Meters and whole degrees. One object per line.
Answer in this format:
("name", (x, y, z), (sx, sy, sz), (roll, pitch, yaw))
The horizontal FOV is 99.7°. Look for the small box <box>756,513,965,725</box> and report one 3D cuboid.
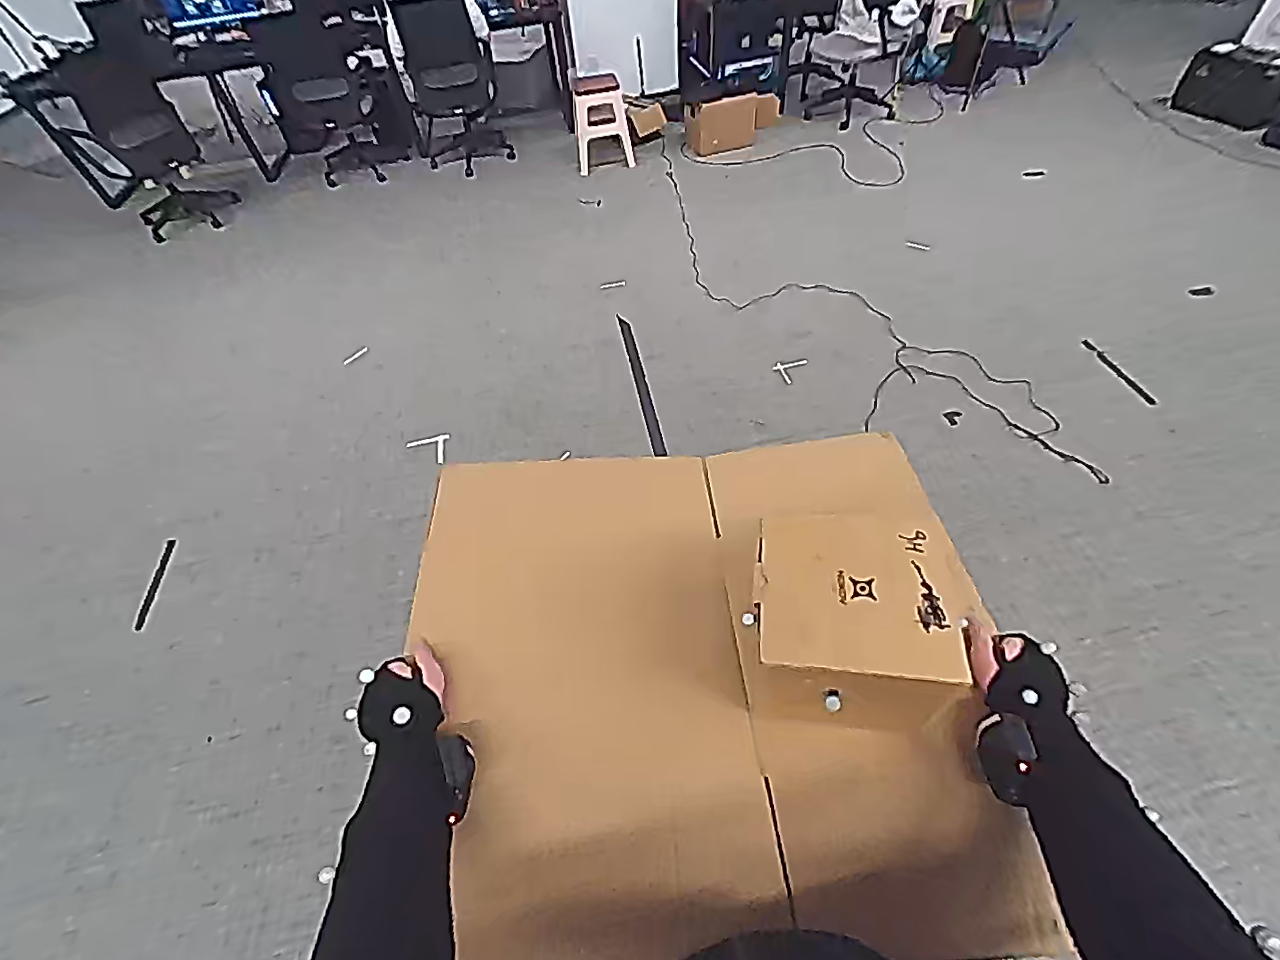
("small box", (0.218, 0.151, 0.583), (0.179, 0.176, 0.168), (1, 53, 13))
